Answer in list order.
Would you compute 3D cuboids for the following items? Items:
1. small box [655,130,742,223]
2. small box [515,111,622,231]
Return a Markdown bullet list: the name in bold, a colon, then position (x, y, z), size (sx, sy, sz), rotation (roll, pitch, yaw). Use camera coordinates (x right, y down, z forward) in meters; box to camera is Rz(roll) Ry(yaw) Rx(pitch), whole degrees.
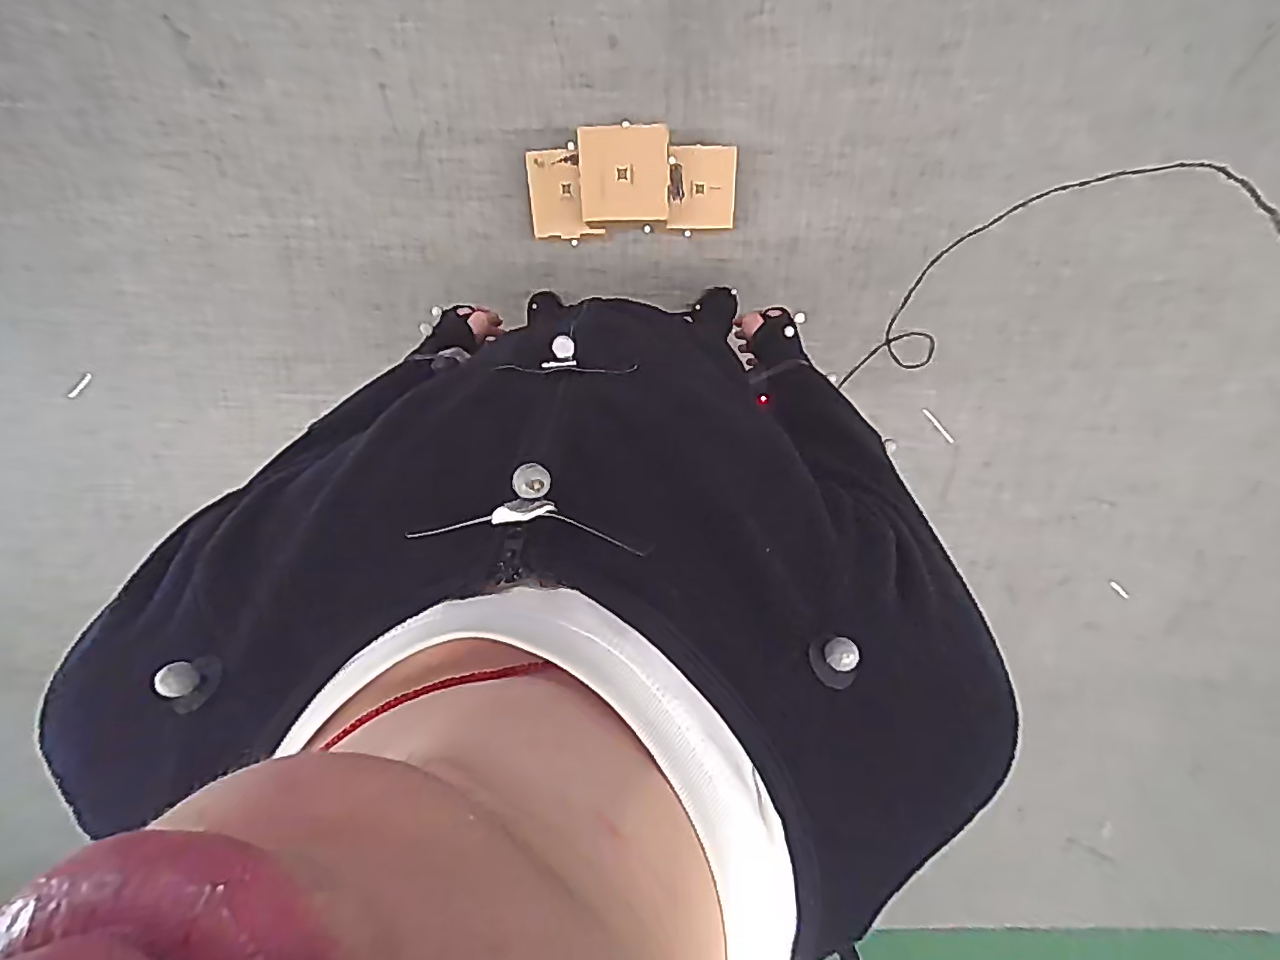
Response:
- **small box**: position (0.130, -0.700, 1.264), size (0.179, 0.176, 0.168), rotation (5, 113, 0)
- **small box**: position (-0.157, -0.706, 1.262), size (0.179, 0.176, 0.168), rotation (-30, 106, 13)
